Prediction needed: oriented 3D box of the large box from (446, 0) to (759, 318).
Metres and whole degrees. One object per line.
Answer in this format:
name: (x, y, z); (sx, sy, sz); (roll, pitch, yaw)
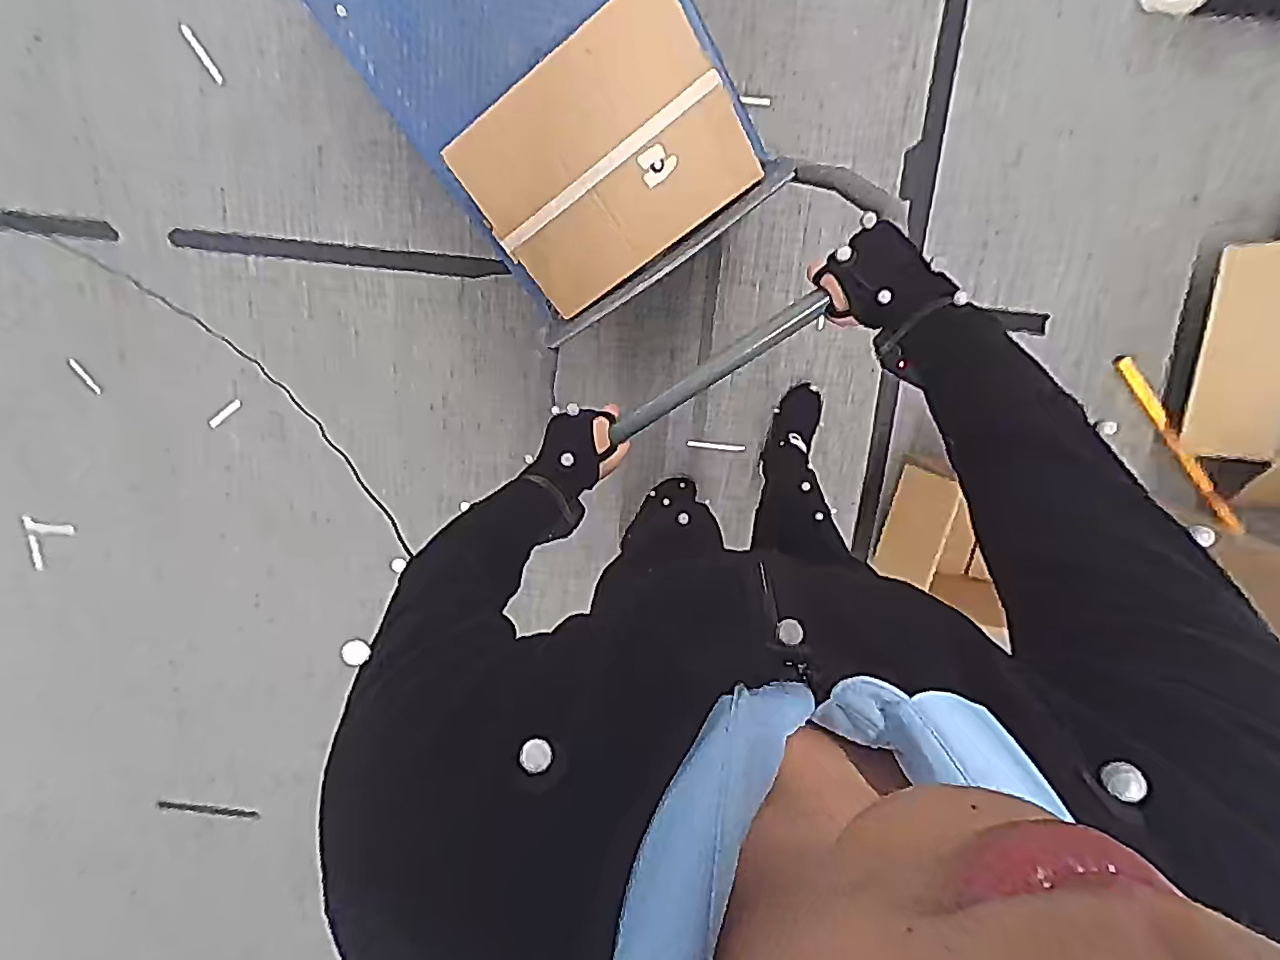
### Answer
large box: (-0.064, -0.563, 0.972); (0.408, 0.320, 0.320); (-33, 117, 14)
